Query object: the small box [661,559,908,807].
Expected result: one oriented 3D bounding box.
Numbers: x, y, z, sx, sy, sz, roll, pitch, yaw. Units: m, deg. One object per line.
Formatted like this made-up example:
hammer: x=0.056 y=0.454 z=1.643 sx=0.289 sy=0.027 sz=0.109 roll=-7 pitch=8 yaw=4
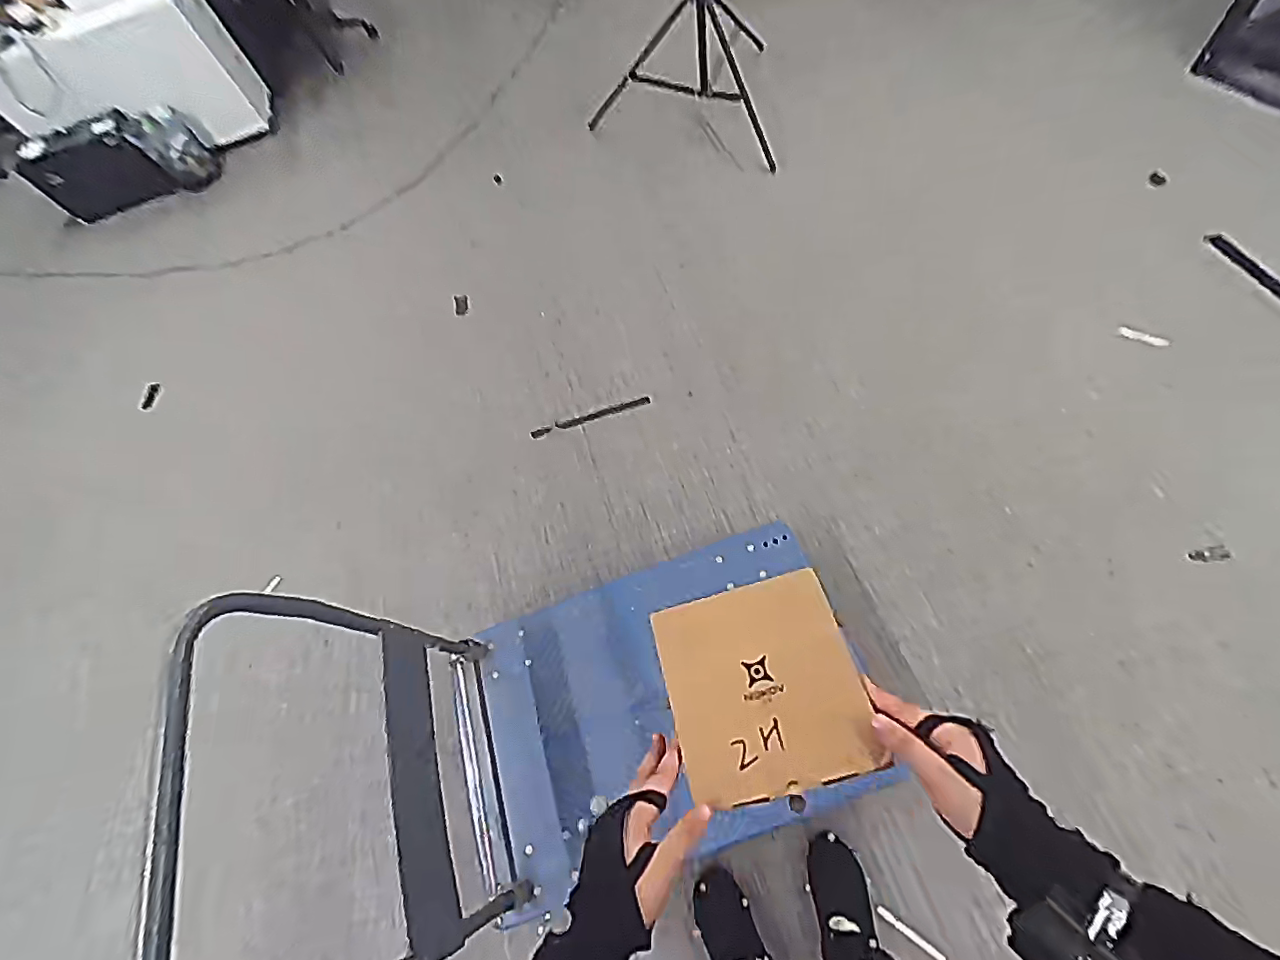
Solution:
small box: x=0.129 y=0.205 z=0.533 sx=0.168 sy=0.176 sz=0.179 roll=-18 pitch=59 yaw=5
